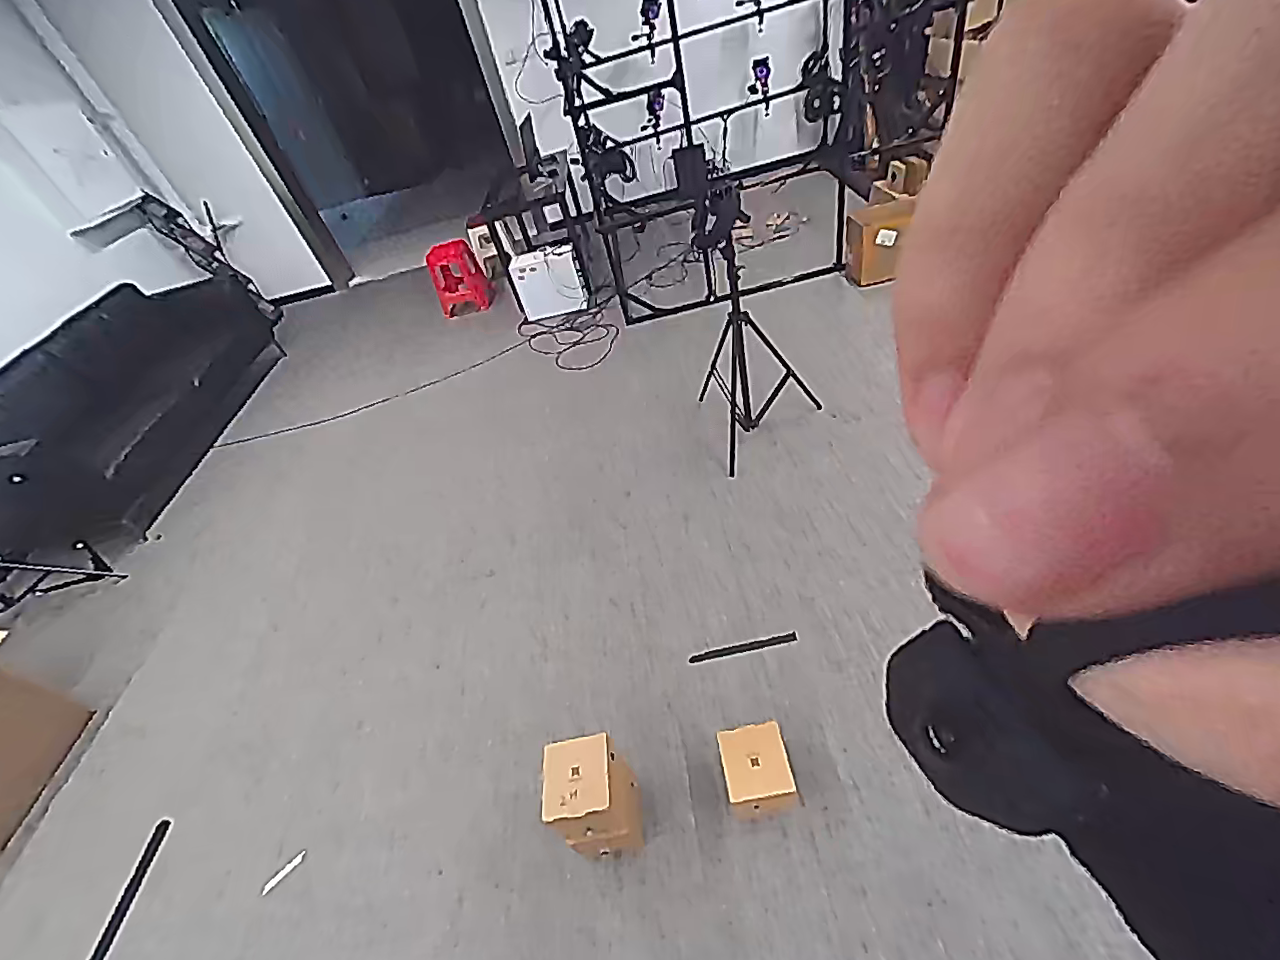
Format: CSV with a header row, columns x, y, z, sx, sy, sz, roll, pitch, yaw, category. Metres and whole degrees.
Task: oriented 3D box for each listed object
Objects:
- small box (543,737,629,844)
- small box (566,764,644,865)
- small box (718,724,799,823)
x,y,z,sx,sy,sz,roll,pitch,yaw,category
-0.131,0.768,1.335,0.168,0.176,0.179,-15,42,6,small box
-0.092,0.890,1.438,0.168,0.176,0.179,-14,42,6,small box
0.312,0.777,1.422,0.168,0.176,0.179,-14,41,4,small box
